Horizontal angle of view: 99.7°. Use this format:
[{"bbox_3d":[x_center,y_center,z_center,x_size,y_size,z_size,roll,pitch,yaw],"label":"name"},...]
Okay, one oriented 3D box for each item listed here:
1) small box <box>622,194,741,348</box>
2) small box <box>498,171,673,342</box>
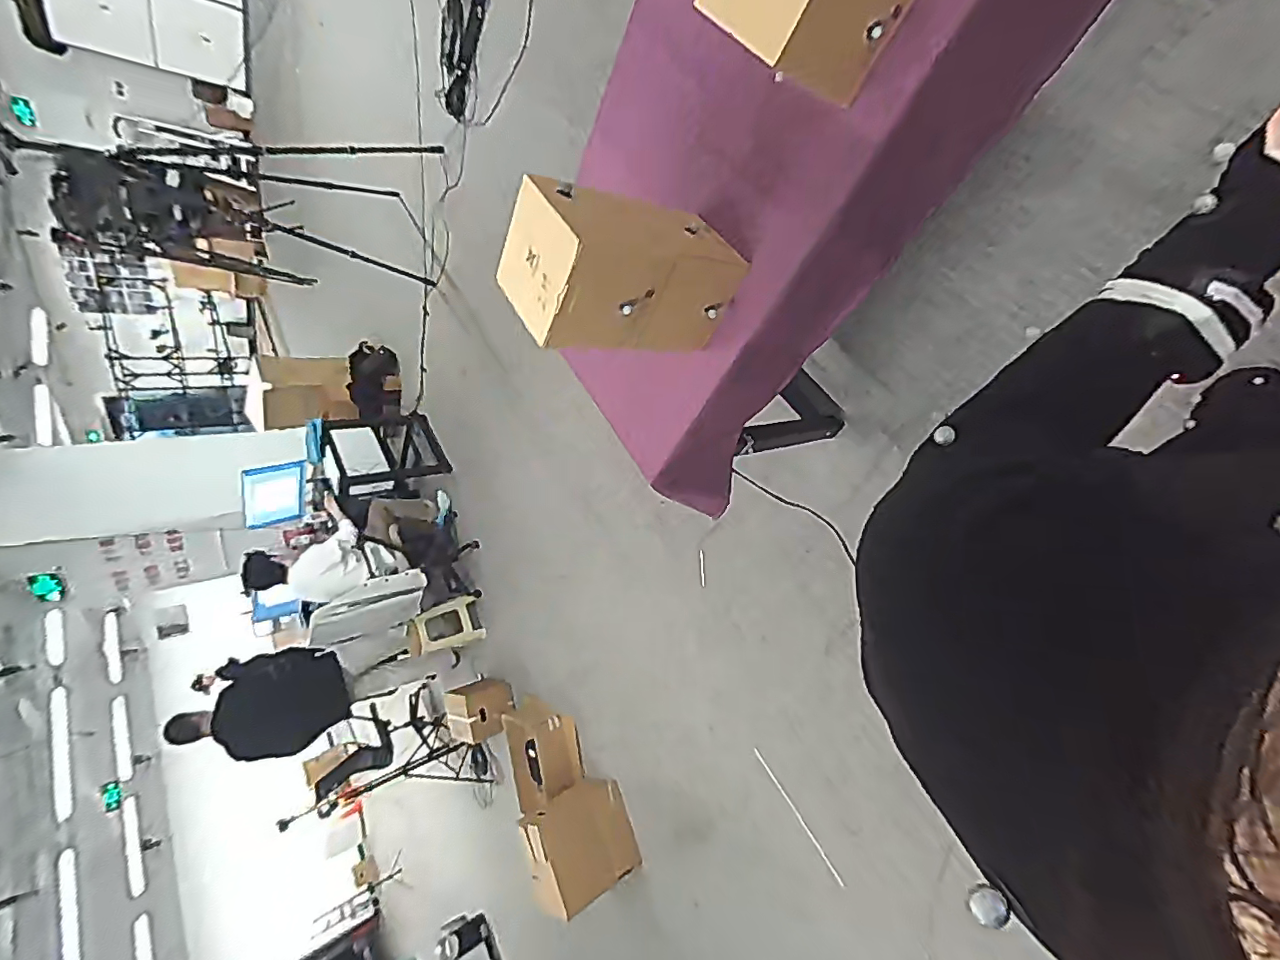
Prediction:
[{"bbox_3d":[0.043,-0.343,0.913,0.168,0.176,0.179,55,134,26],"label":"small box"},{"bbox_3d":[-0.084,-0.321,0.808,0.179,0.176,0.168,55,135,25],"label":"small box"}]
